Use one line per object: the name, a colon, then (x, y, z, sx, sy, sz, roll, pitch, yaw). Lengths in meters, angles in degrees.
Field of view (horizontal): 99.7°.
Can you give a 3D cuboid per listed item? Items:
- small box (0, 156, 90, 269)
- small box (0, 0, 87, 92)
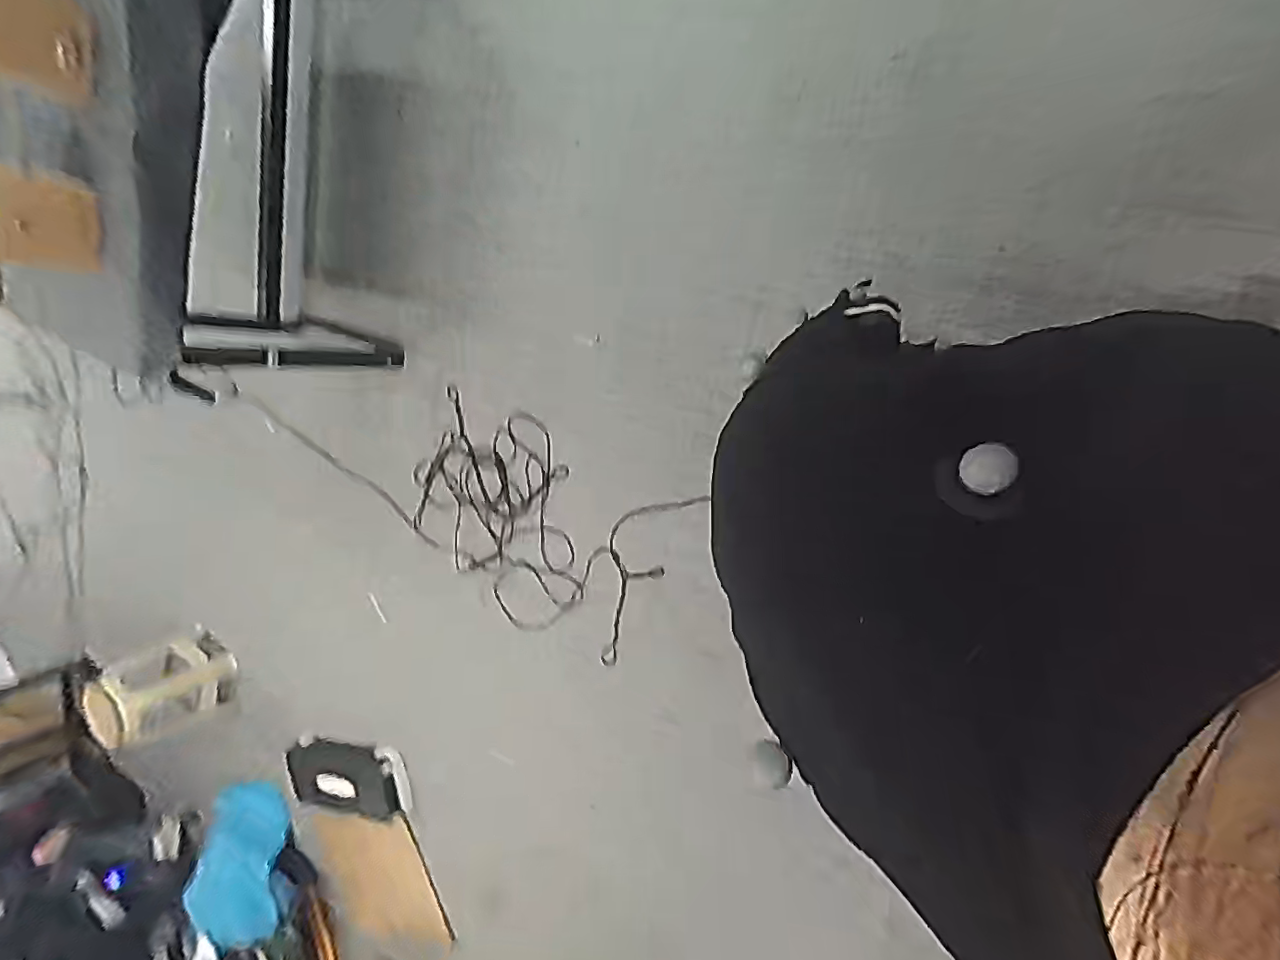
small box: (-1.267, -0.552, 1.100, 0.168, 0.176, 0.179, 26, 110, 19)
small box: (-1.181, -0.852, 1.002, 0.179, 0.176, 0.168, 21, 109, 20)
